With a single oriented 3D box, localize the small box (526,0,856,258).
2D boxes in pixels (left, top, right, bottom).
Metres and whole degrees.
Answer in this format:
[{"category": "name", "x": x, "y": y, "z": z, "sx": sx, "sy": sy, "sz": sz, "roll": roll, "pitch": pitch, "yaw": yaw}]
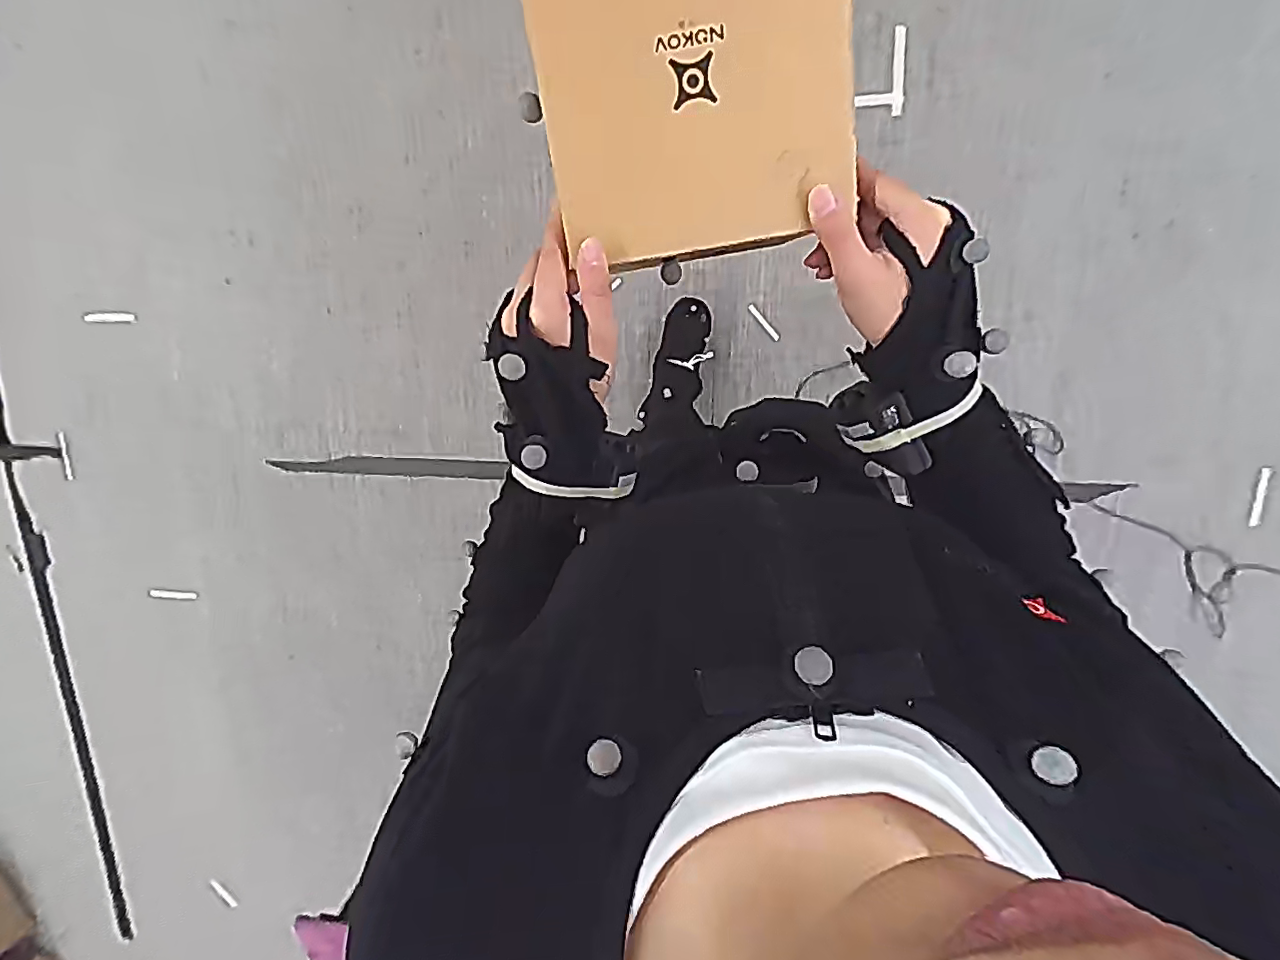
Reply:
[{"category": "small box", "x": 0.031, "y": -0.248, "z": 0.352, "sx": 0.168, "sy": 0.176, "sz": 0.179, "roll": -8, "pitch": 108, "yaw": 5}]
